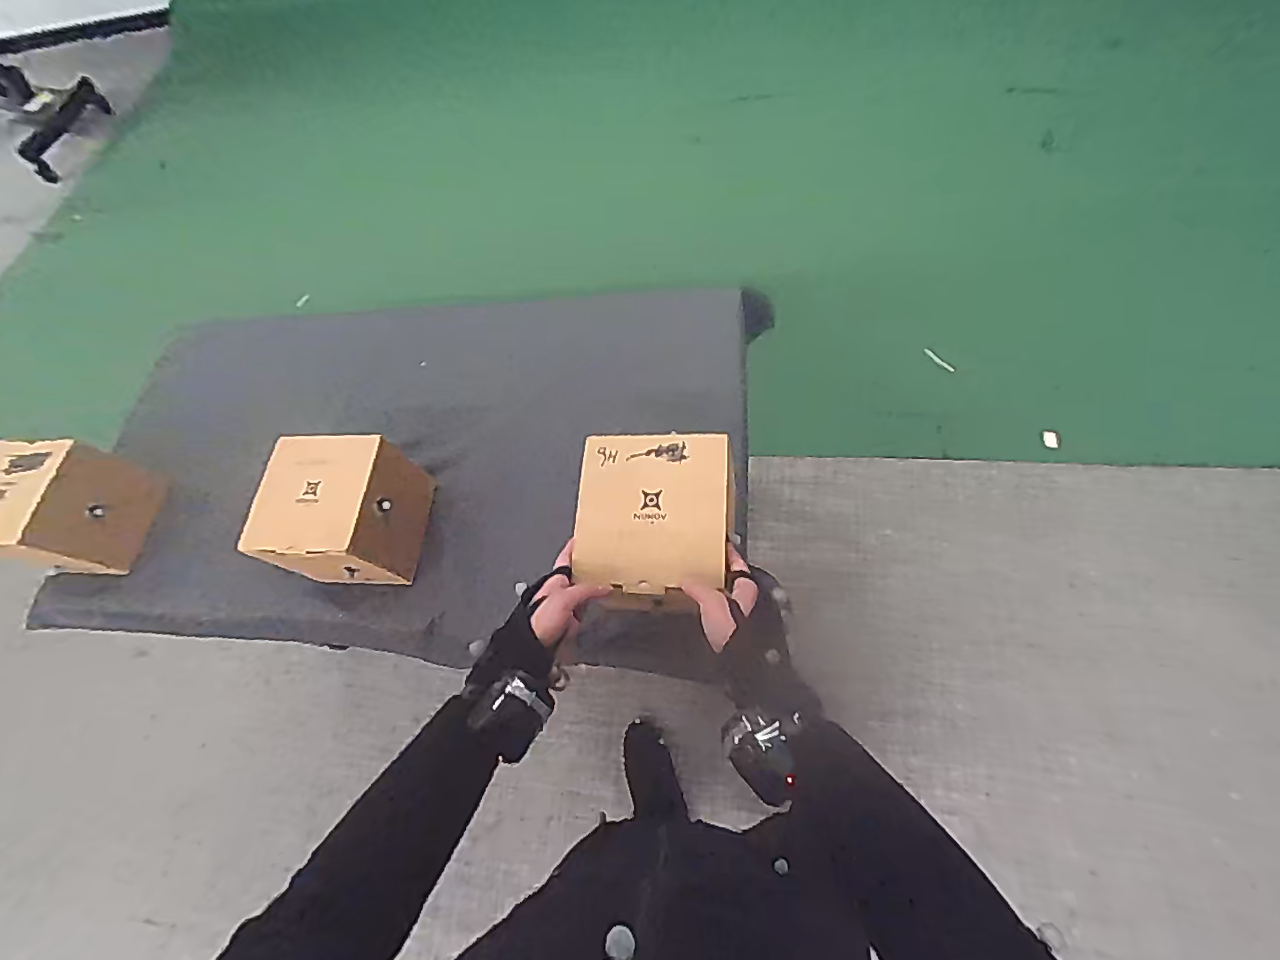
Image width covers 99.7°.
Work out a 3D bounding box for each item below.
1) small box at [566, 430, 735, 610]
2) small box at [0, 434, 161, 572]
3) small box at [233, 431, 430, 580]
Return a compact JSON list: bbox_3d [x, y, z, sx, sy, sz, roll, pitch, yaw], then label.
[{"bbox_3d":[0.025,0.054,0.643,0.168,0.176,0.179,1,69,13],"label":"small box"},{"bbox_3d":[-0.952,0.041,0.886,0.168,0.176,0.179,0,66,10],"label":"small box"},{"bbox_3d":[-0.437,0.044,0.801,0.168,0.176,0.179,0,64,8],"label":"small box"}]
